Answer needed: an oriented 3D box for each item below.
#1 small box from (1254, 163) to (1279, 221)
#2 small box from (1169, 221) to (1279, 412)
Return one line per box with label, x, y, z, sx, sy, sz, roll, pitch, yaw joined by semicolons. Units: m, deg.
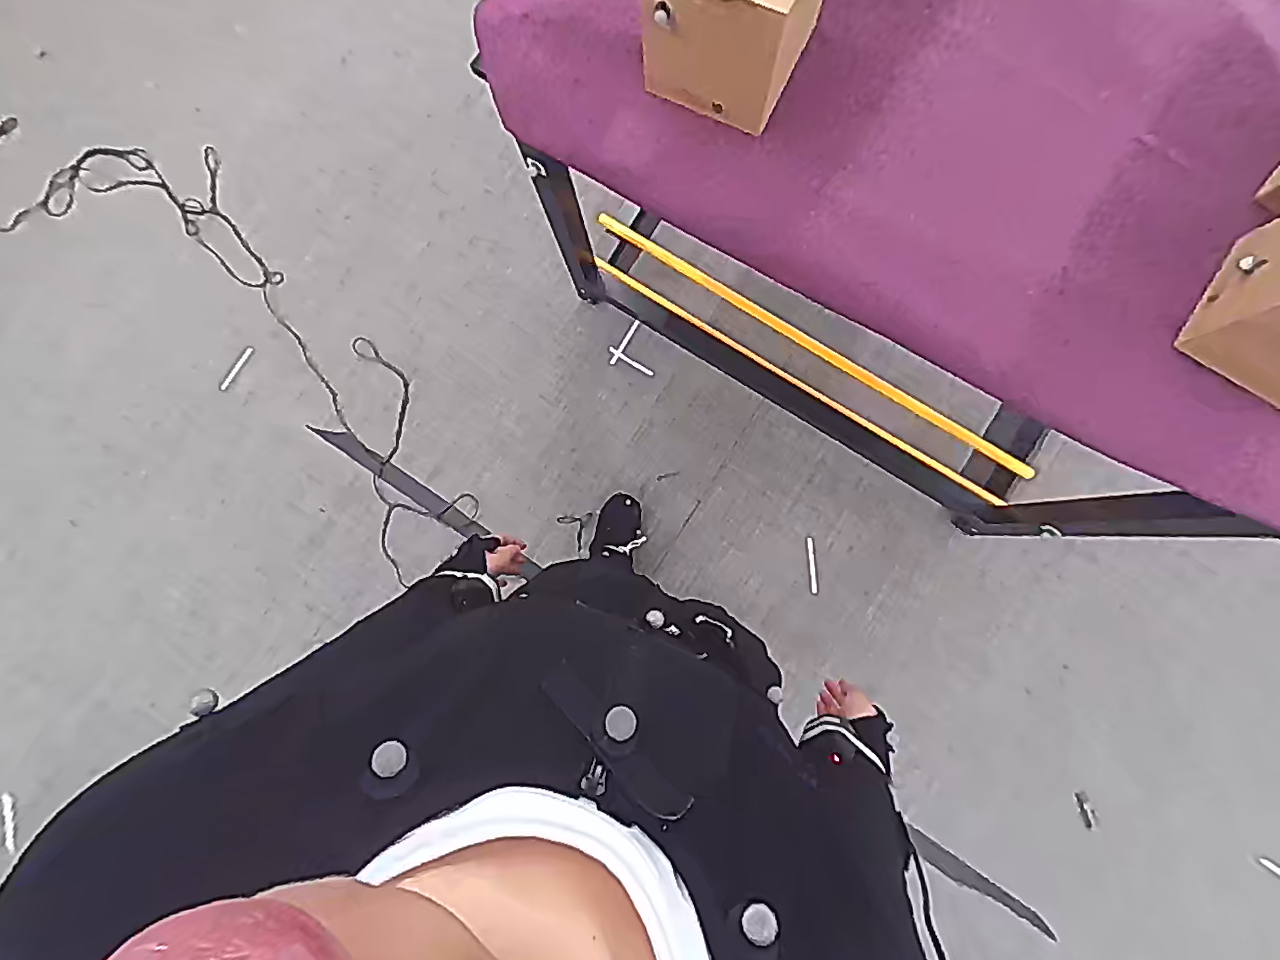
small box;0.849;-0.355;0.574;0.179;0.176;0.168;39;89;4
small box;0.740;-0.187;0.565;0.179;0.176;0.168;34;86;6
